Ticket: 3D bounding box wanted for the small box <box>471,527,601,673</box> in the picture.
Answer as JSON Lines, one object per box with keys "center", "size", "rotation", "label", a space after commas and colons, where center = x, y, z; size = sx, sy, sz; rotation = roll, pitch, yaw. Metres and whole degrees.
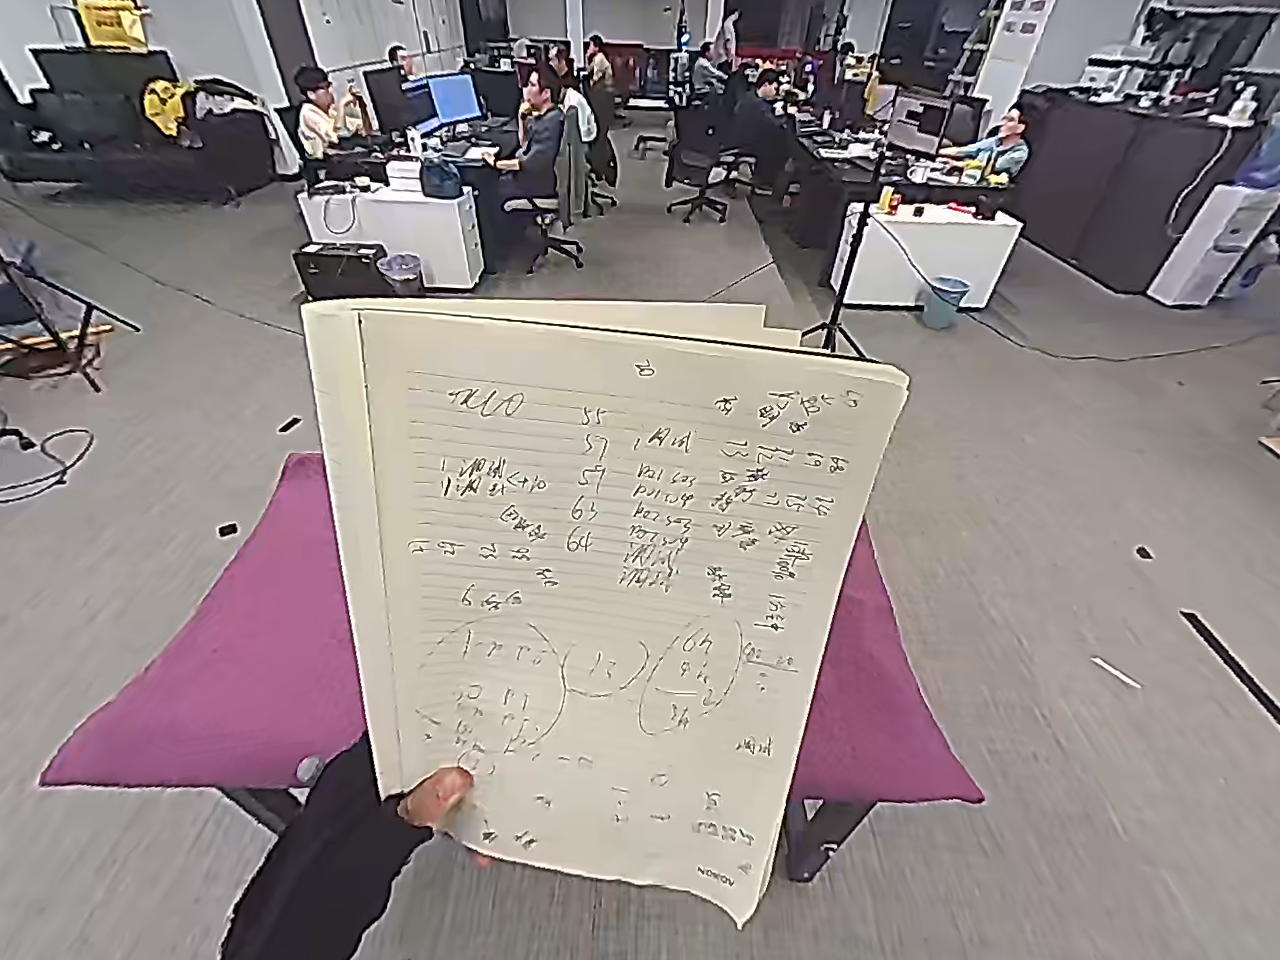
{"center": [-0.157, 0.197, 0.880], "size": [0.179, 0.176, 0.168], "rotation": [2, 40, -1], "label": "small box"}
